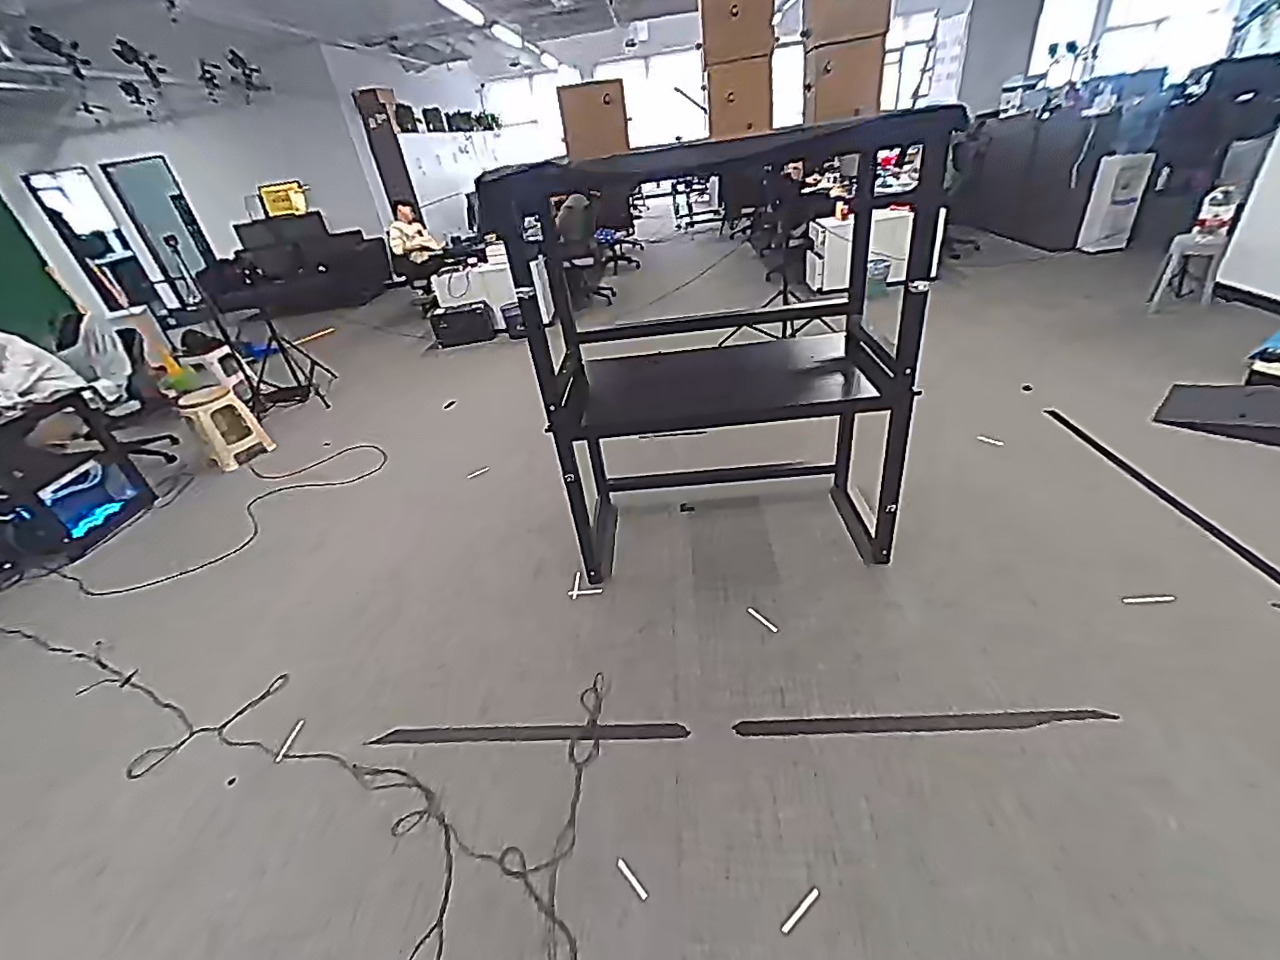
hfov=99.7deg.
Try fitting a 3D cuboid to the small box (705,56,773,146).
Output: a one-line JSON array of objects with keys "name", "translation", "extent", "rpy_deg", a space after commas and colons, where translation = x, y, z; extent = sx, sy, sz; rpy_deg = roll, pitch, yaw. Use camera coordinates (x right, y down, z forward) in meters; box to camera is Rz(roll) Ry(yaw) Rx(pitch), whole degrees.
[{"name": "small box", "translation": [0.262, -1.002, 1.441], "extent": [0.168, 0.176, 0.179], "rpy_deg": [-3, 31, 8]}]

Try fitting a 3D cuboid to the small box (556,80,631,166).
[{"name": "small box", "translation": [-0.119, -0.958, 1.458], "extent": [0.179, 0.176, 0.168], "rpy_deg": [-7, 31, 2]}]

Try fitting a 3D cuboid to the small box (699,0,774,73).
[{"name": "small box", "translation": [0.239, -1.136, 1.347], "extent": [0.179, 0.176, 0.168], "rpy_deg": [-5, 31, 9]}]

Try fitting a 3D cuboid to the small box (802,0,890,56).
[{"name": "small box", "translation": [0.497, -1.151, 1.308], "extent": [0.179, 0.176, 0.168], "rpy_deg": [-6, 30, 7]}]
